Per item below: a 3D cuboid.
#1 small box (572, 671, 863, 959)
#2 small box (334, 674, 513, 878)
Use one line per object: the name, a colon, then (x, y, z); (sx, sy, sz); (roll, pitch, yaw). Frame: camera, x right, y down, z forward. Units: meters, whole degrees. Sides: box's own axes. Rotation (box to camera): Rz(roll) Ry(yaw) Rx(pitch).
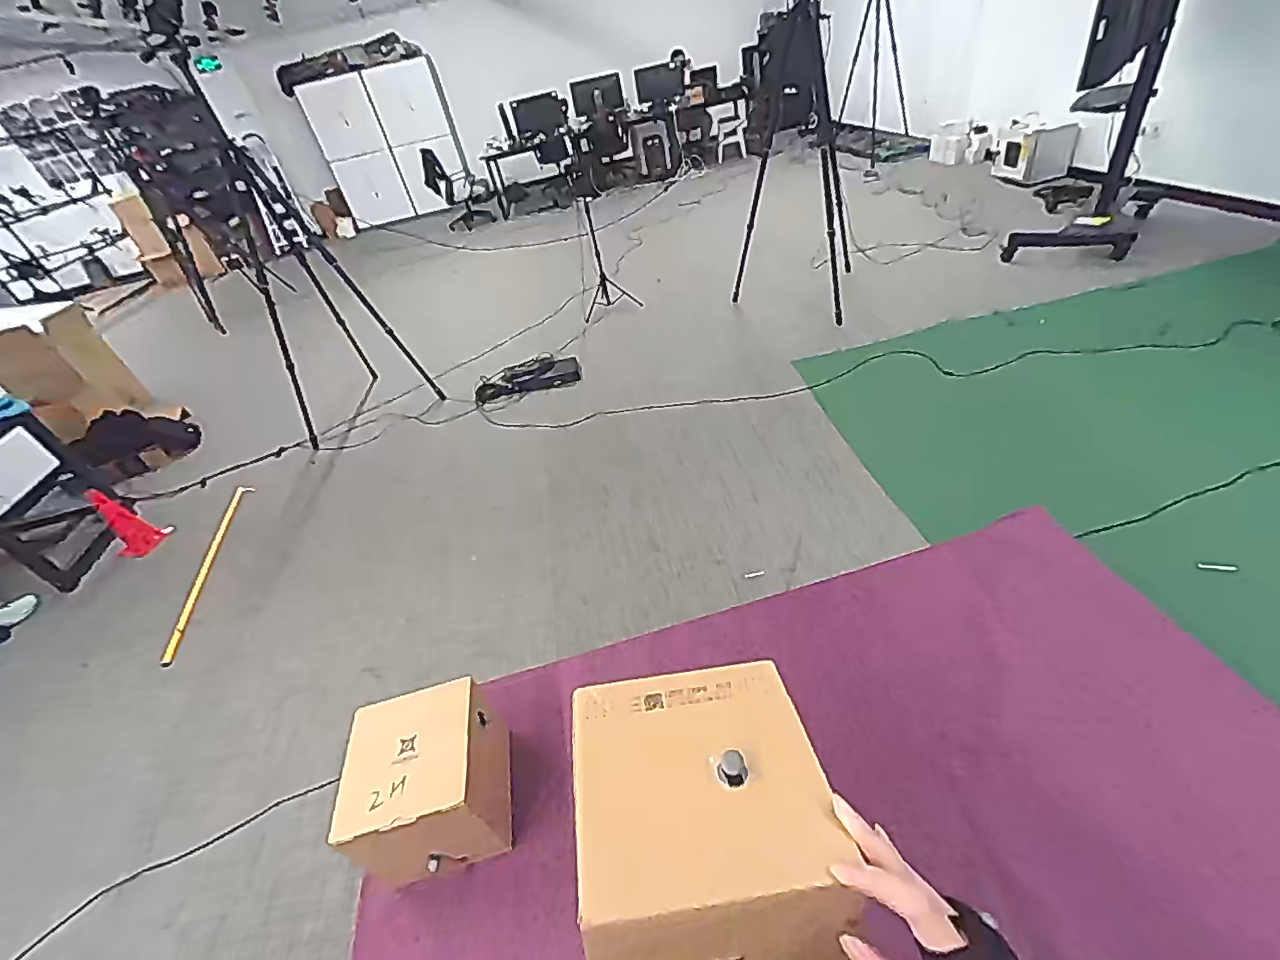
small box: (0.041, 0.264, 0.406); (0.168, 0.179, 0.176); (-7, 29, -5)
small box: (-0.283, 0.409, 0.751); (0.168, 0.176, 0.179); (-17, 40, -2)
